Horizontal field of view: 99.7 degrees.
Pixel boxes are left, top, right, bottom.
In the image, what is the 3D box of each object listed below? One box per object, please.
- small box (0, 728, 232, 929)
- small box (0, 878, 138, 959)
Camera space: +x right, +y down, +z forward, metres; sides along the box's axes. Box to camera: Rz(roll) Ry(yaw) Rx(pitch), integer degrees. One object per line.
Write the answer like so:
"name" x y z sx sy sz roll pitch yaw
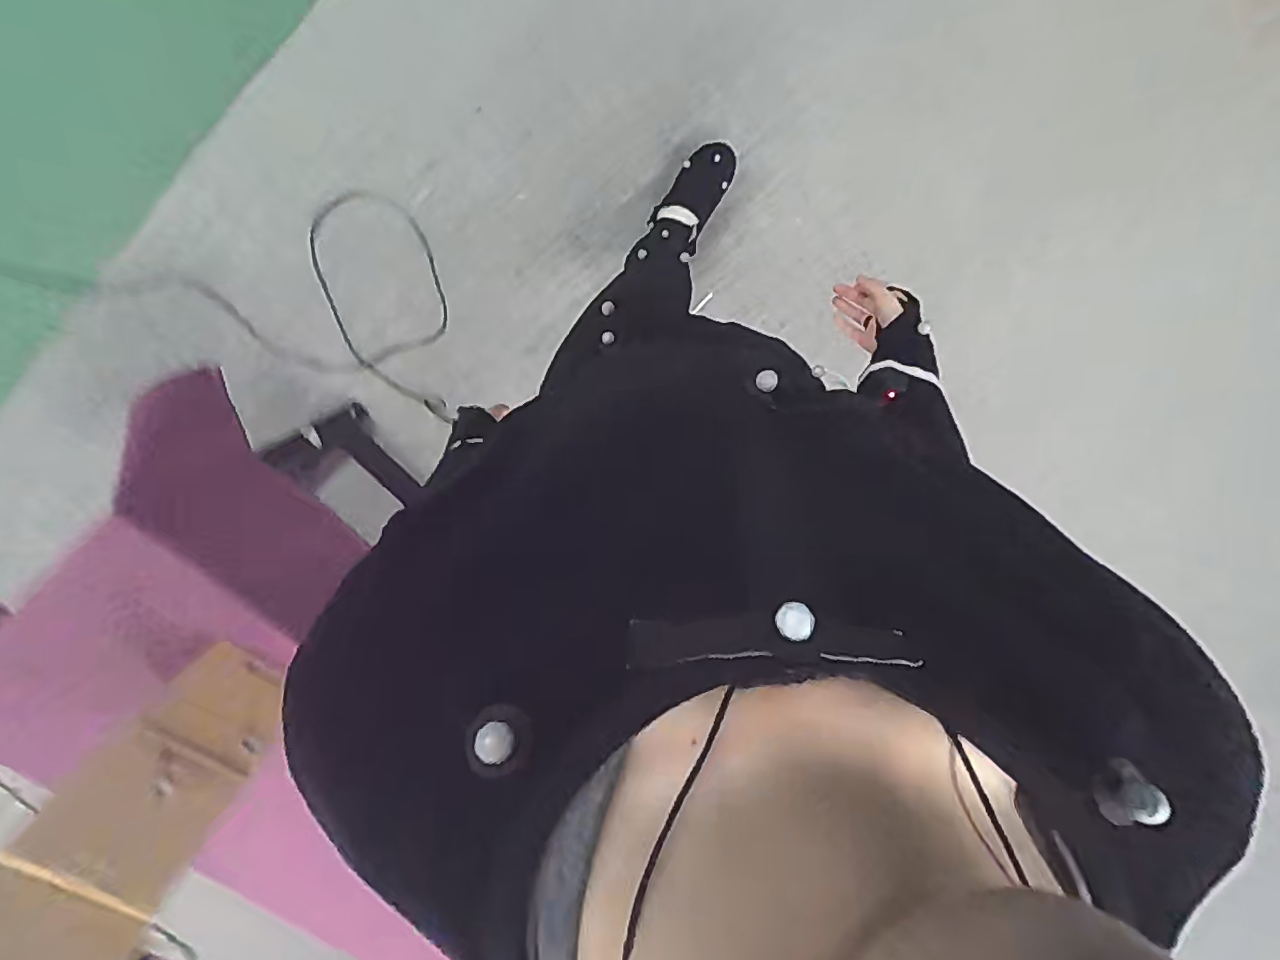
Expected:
"small box" -0.660 0.451 0.664 0.168 0.176 0.179 42 107 -16
"small box" -0.661 0.527 0.518 0.179 0.176 0.168 39 108 -16
